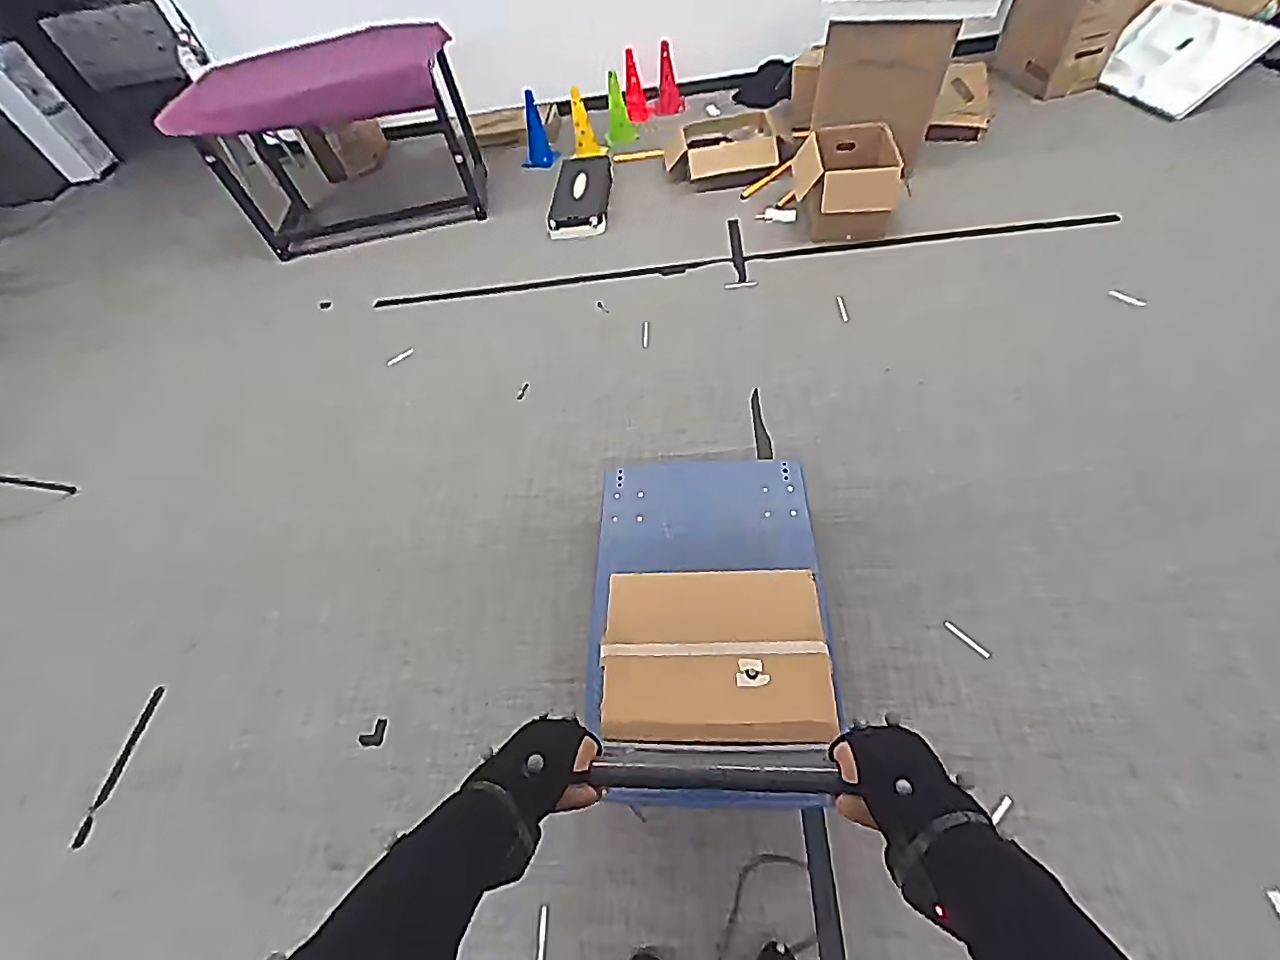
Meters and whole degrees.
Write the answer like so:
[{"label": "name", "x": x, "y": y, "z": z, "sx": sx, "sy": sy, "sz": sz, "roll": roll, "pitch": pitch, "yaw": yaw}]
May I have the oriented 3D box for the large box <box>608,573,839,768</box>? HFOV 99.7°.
[{"label": "large box", "x": 0.154, "y": 0.407, "z": 1.130, "sx": 0.408, "sy": 0.320, "sz": 0.320, "roll": -3, "pitch": 55, "yaw": 6}]
